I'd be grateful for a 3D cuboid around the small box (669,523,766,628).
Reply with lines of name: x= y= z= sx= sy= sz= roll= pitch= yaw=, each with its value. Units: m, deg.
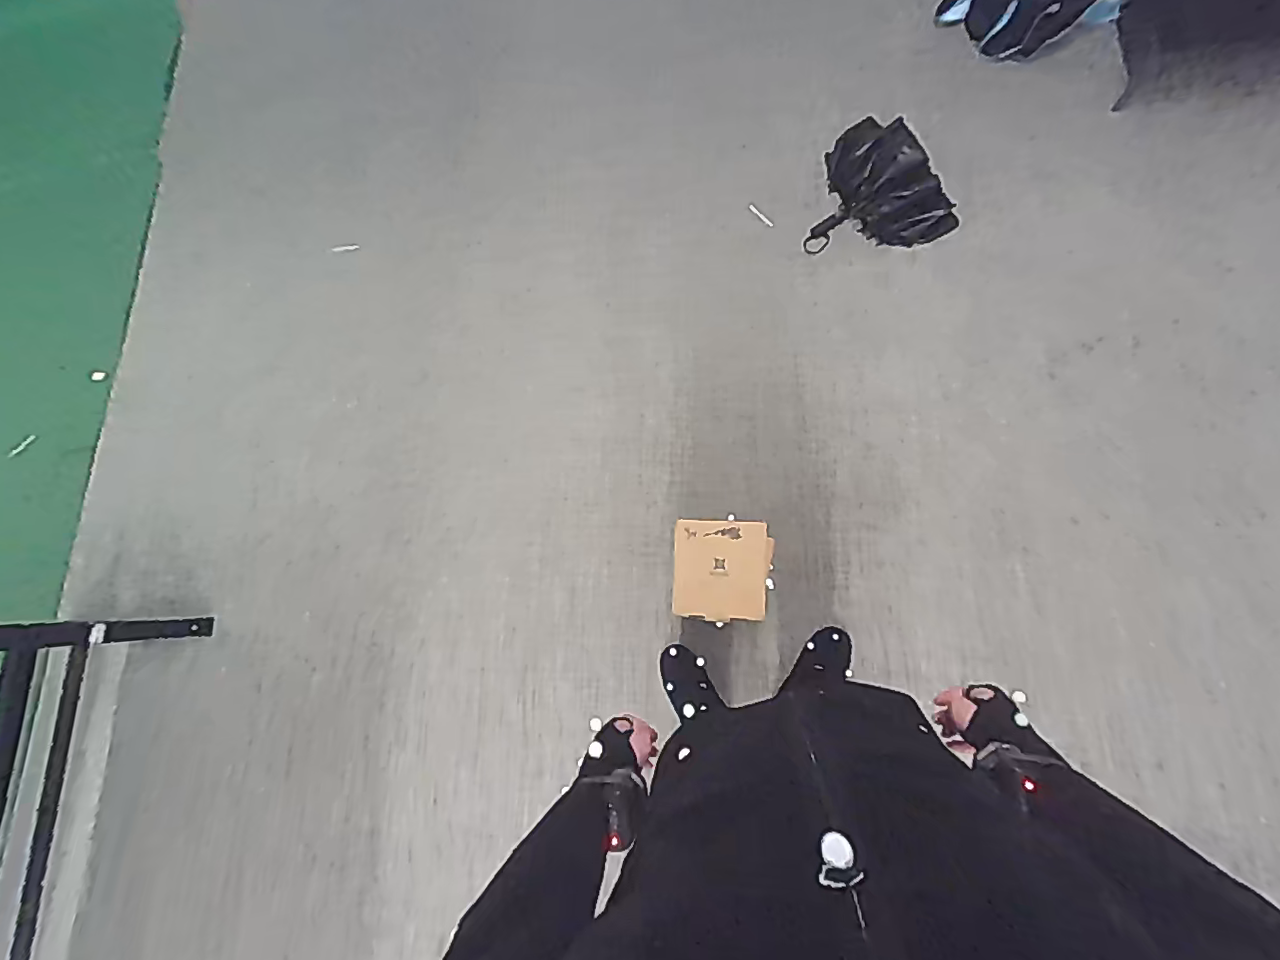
small box: x=0.155 y=0.185 z=1.051 sx=0.168 sy=0.176 sz=0.179 roll=3 pitch=78 yaw=11
